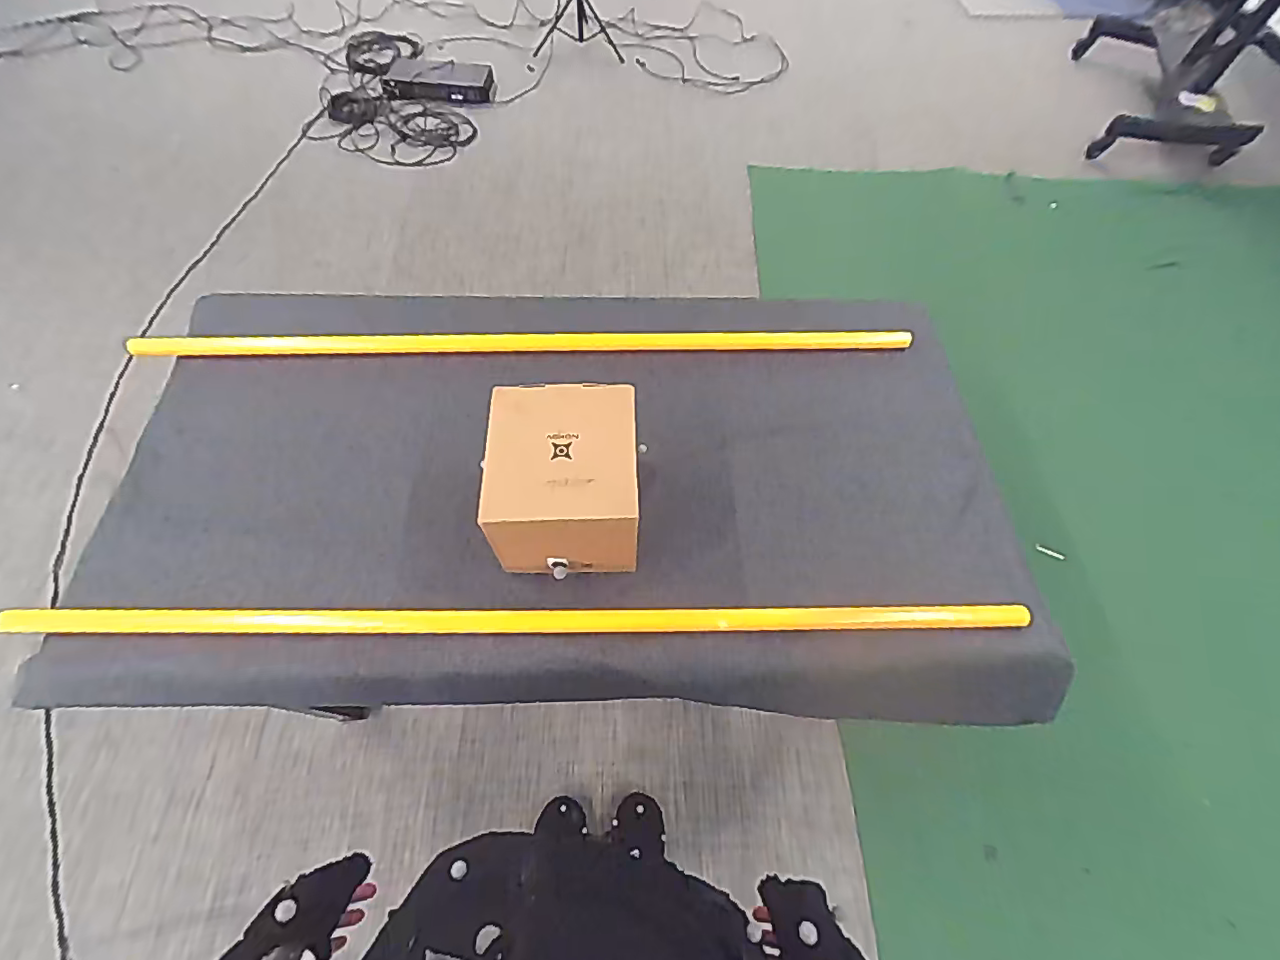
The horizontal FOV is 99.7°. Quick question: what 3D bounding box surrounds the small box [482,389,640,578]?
[{"bbox_3d":[-0.087,0.008,0.667,0.168,0.176,0.179,-2,62,-2],"label":"small box"}]
